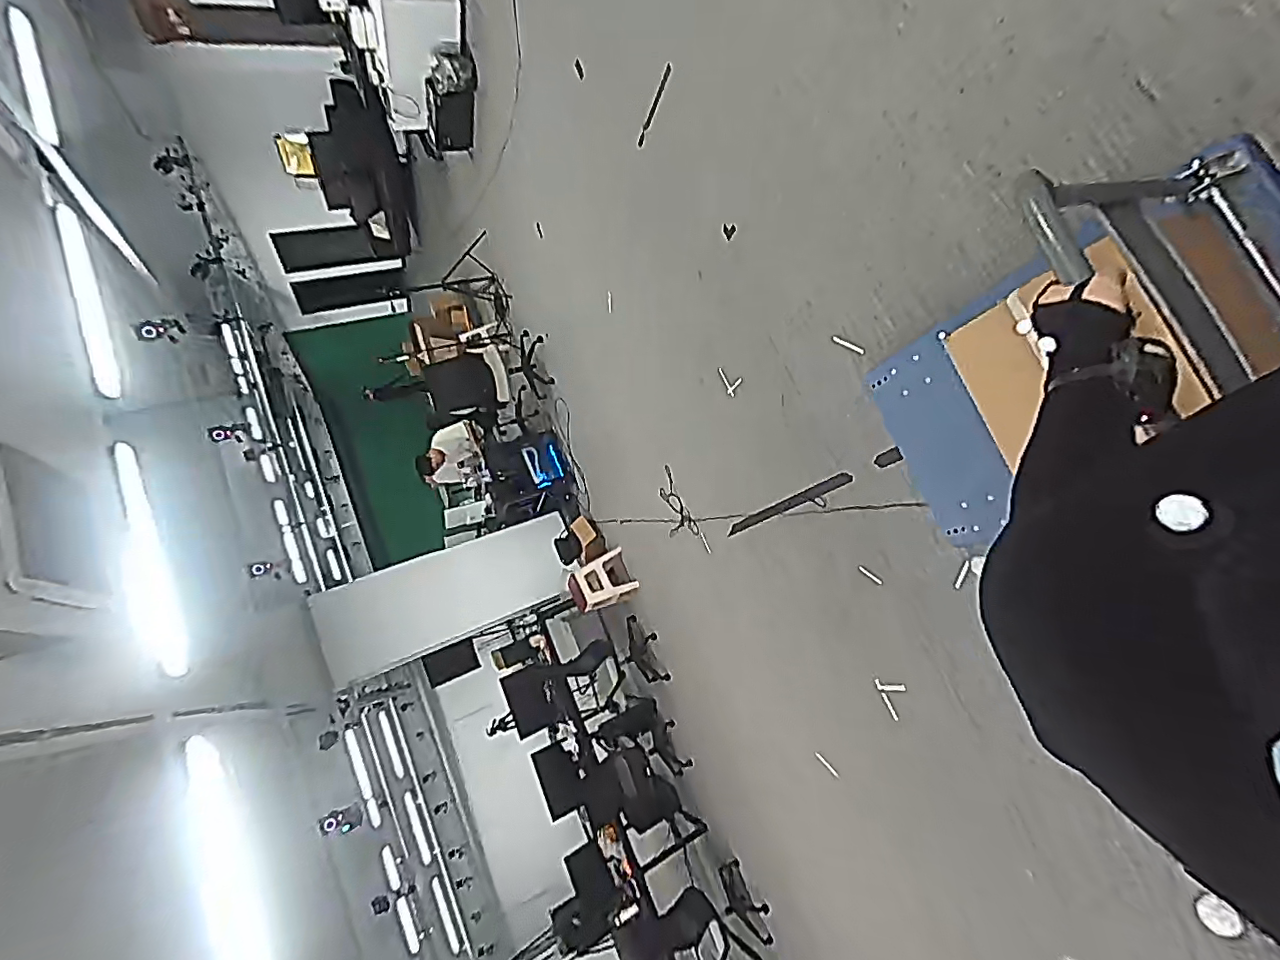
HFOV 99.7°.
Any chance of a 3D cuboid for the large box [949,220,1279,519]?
[{"bbox_3d":[0.876,-0.189,0.981,0.408,0.320,0.320,68,156,9],"label":"large box"}]
